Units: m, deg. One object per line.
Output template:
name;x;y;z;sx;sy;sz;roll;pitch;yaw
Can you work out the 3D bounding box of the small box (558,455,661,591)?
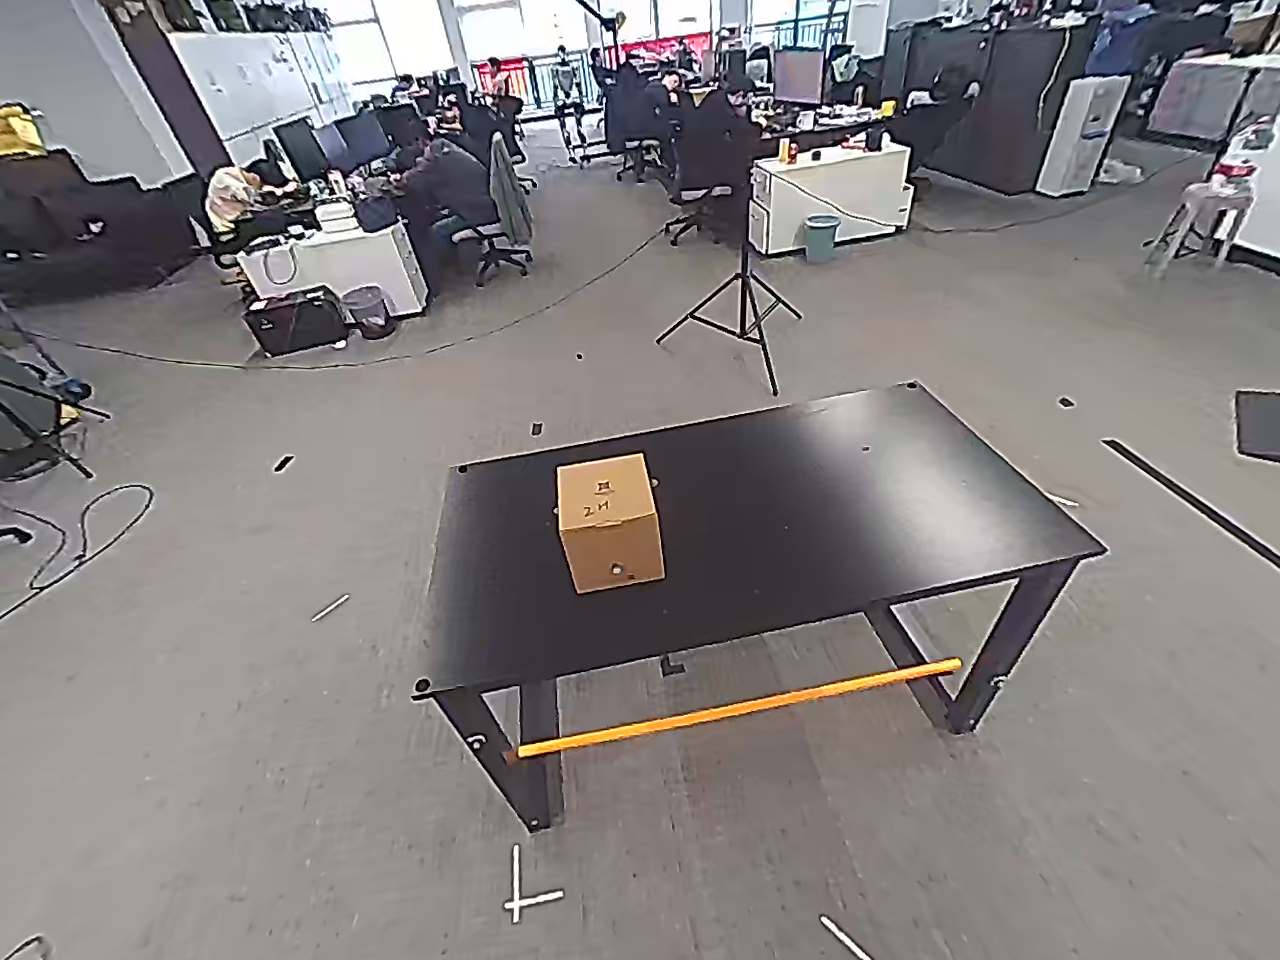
small box;-0.058;0.080;1.014;0.168;0.176;0.179;-10;40;-1
